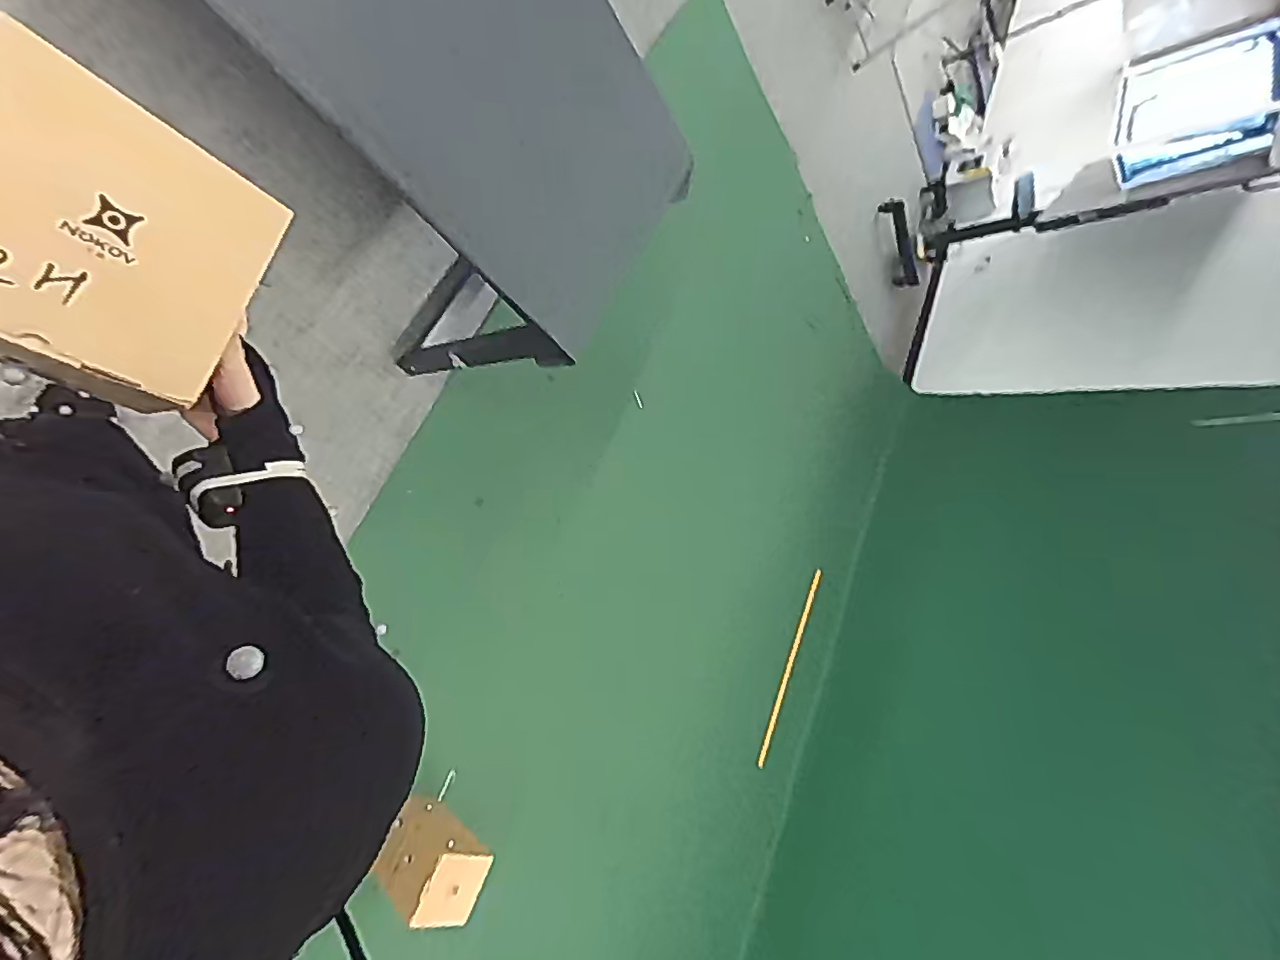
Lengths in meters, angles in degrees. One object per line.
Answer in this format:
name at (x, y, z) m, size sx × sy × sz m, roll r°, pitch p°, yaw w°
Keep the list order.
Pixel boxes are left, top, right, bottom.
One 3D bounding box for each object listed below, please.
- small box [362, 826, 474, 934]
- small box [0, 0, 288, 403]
small box at (-0.576, 1.031, 1.406) m, size 0.179 × 0.176 × 0.168 m, roll 42°, pitch 64°, yaw -43°
small box at (-0.404, -0.170, 0.388) m, size 0.168 × 0.176 × 0.179 m, roll 33°, pitch 66°, yaw -49°
